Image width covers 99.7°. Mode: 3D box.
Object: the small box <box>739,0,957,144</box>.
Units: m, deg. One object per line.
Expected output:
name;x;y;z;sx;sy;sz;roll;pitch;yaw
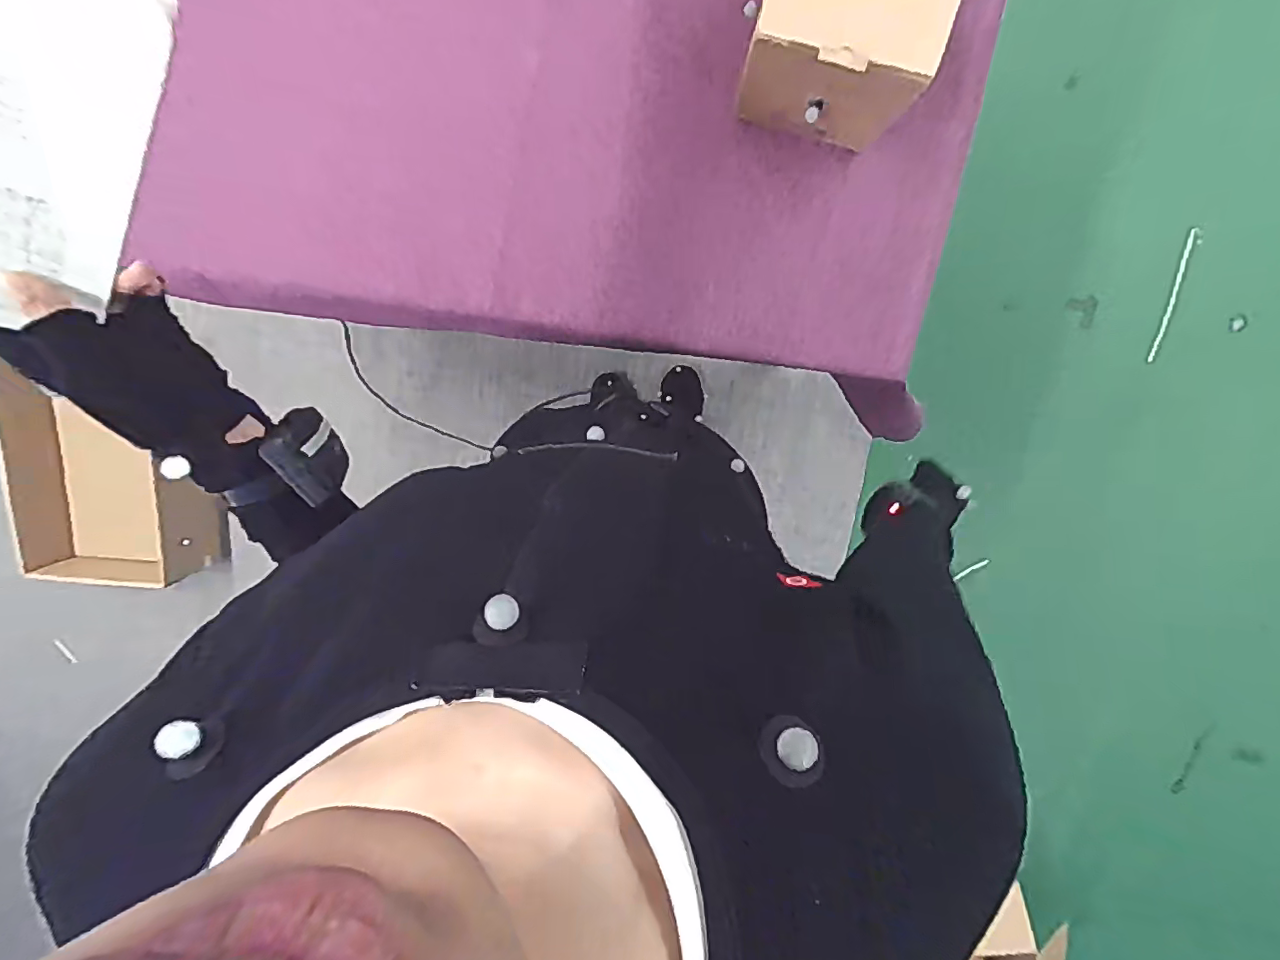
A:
small box;0.205;-0.471;0.539;0.168;0.176;0.179;15;103;-1
